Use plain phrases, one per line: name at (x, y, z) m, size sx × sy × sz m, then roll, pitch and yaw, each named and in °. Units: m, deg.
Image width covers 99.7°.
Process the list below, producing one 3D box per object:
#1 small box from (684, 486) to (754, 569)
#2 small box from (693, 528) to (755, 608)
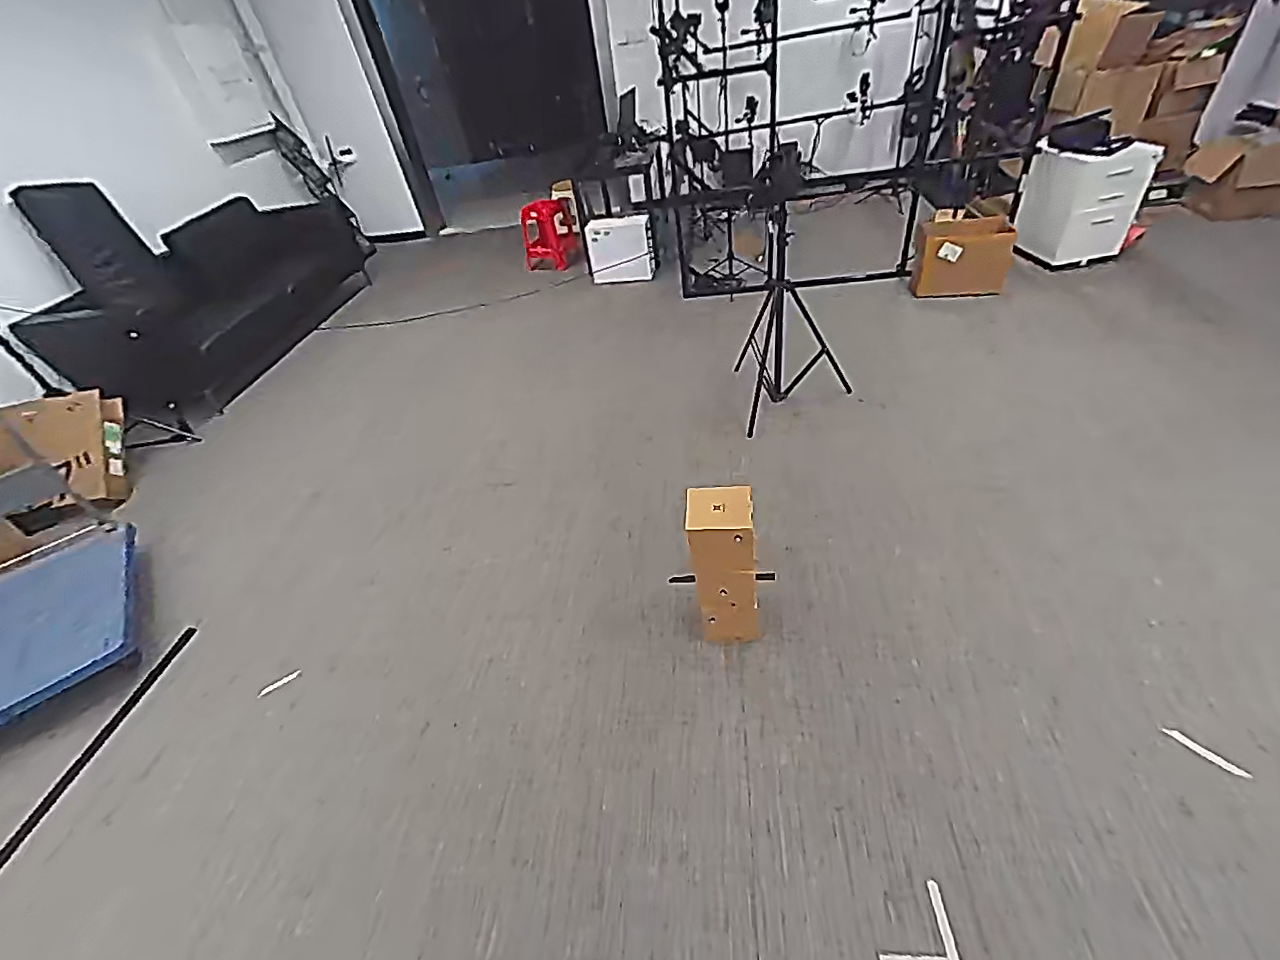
small box at (0.220, 0.134, 1.498) m, size 0.179 × 0.176 × 0.168 m, roll -3°, pitch 40°, yaw 10°
small box at (0.254, 0.258, 1.598) m, size 0.168 × 0.176 × 0.179 m, roll 0°, pitch 40°, yaw 12°
